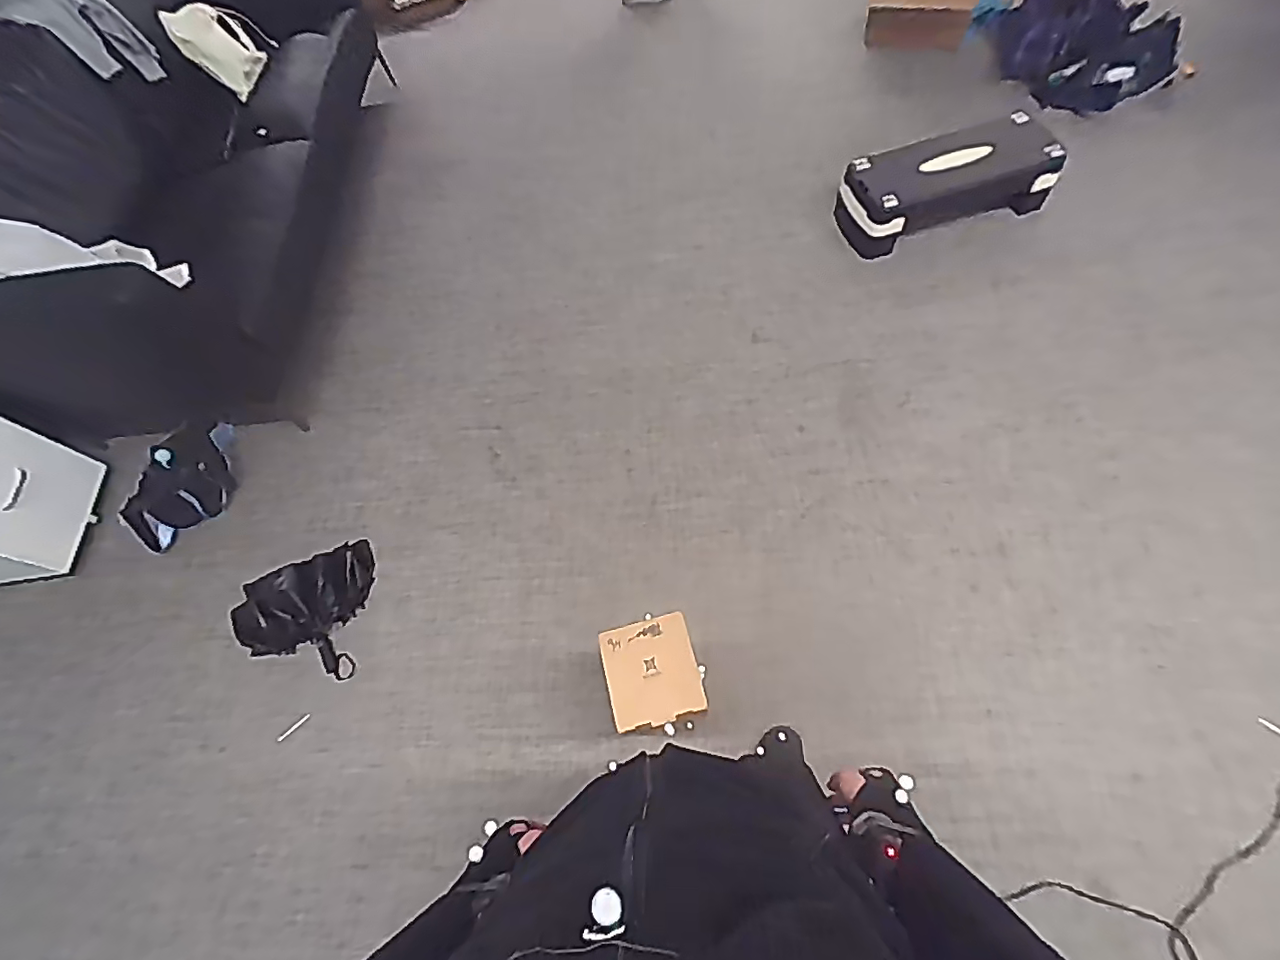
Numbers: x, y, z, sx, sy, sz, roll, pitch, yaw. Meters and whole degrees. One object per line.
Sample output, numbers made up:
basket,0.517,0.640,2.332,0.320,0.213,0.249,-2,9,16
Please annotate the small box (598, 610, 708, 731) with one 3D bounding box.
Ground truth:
small box,0.030,0.367,1.036,0.168,0.176,0.179,-16,65,1
